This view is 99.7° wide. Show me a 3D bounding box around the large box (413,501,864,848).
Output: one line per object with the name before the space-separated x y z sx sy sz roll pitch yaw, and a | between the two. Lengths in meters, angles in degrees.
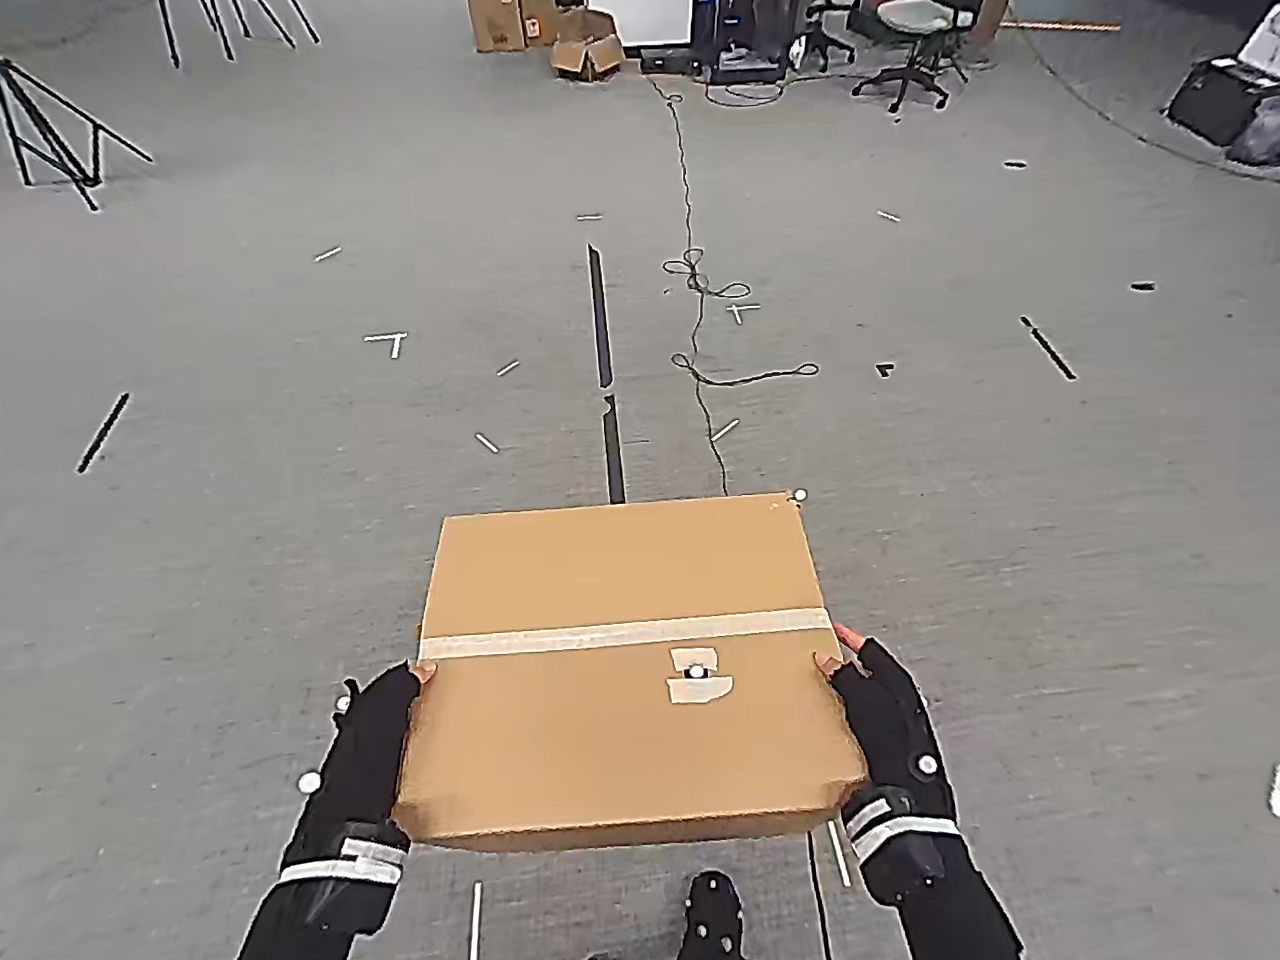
large box | -0.006 0.250 0.674 0.408 0.320 0.320 -4 54 0
